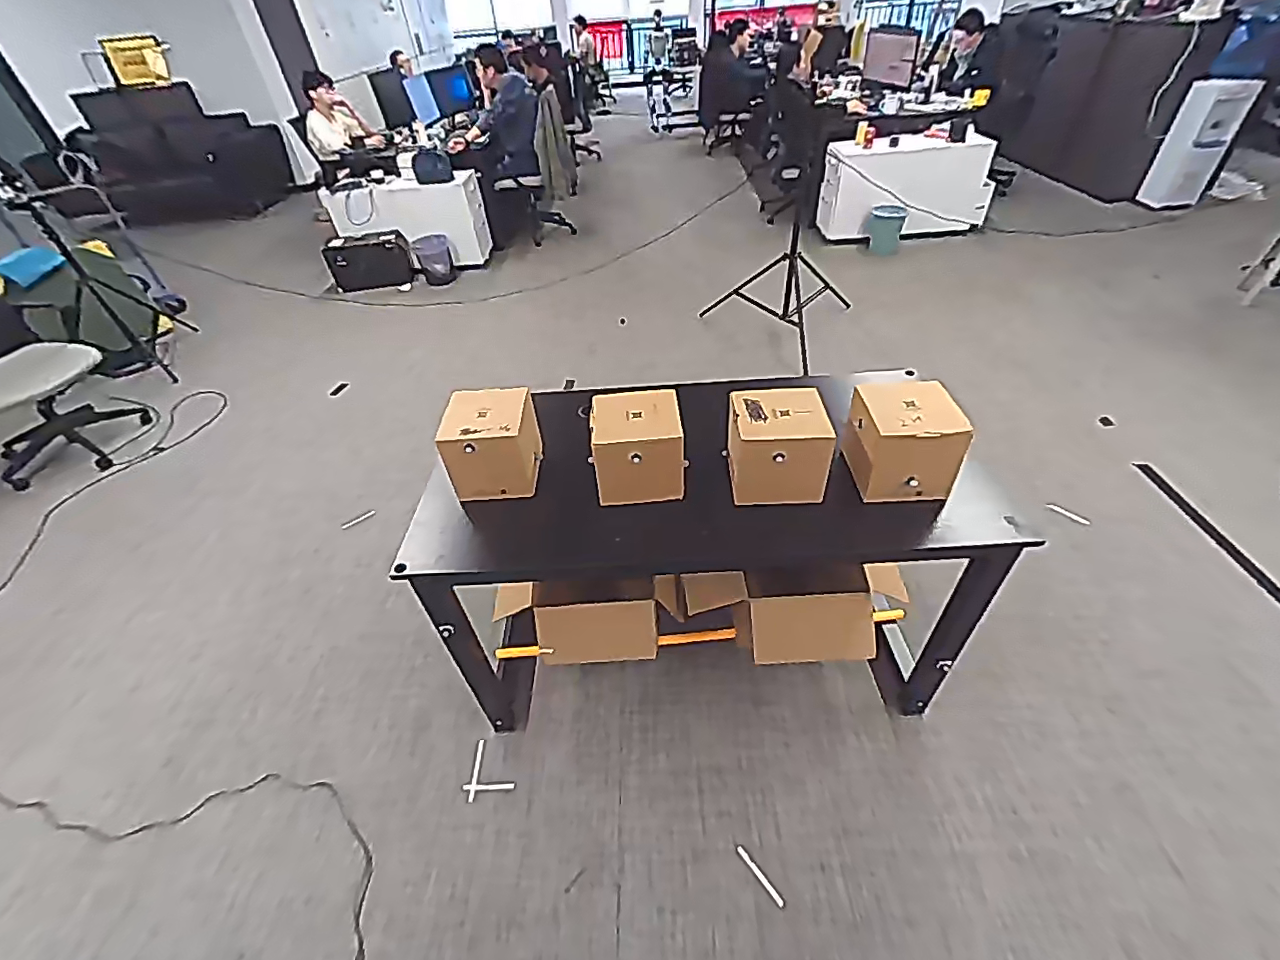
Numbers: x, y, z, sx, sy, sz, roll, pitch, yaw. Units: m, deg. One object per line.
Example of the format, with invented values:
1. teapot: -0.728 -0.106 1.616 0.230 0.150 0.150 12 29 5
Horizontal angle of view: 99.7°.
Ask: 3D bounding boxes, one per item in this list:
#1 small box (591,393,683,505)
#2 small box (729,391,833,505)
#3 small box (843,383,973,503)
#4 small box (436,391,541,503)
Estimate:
1. small box: -0.005 -0.061 1.123 0.179 0.176 0.168 -5 43 0
2. small box: 0.273 -0.062 1.090 0.179 0.176 0.168 -2 41 4
3. small box: 0.518 -0.073 1.076 0.168 0.176 0.179 -3 41 4
4. small box: -0.313 -0.071 1.162 0.168 0.176 0.179 -4 41 1
